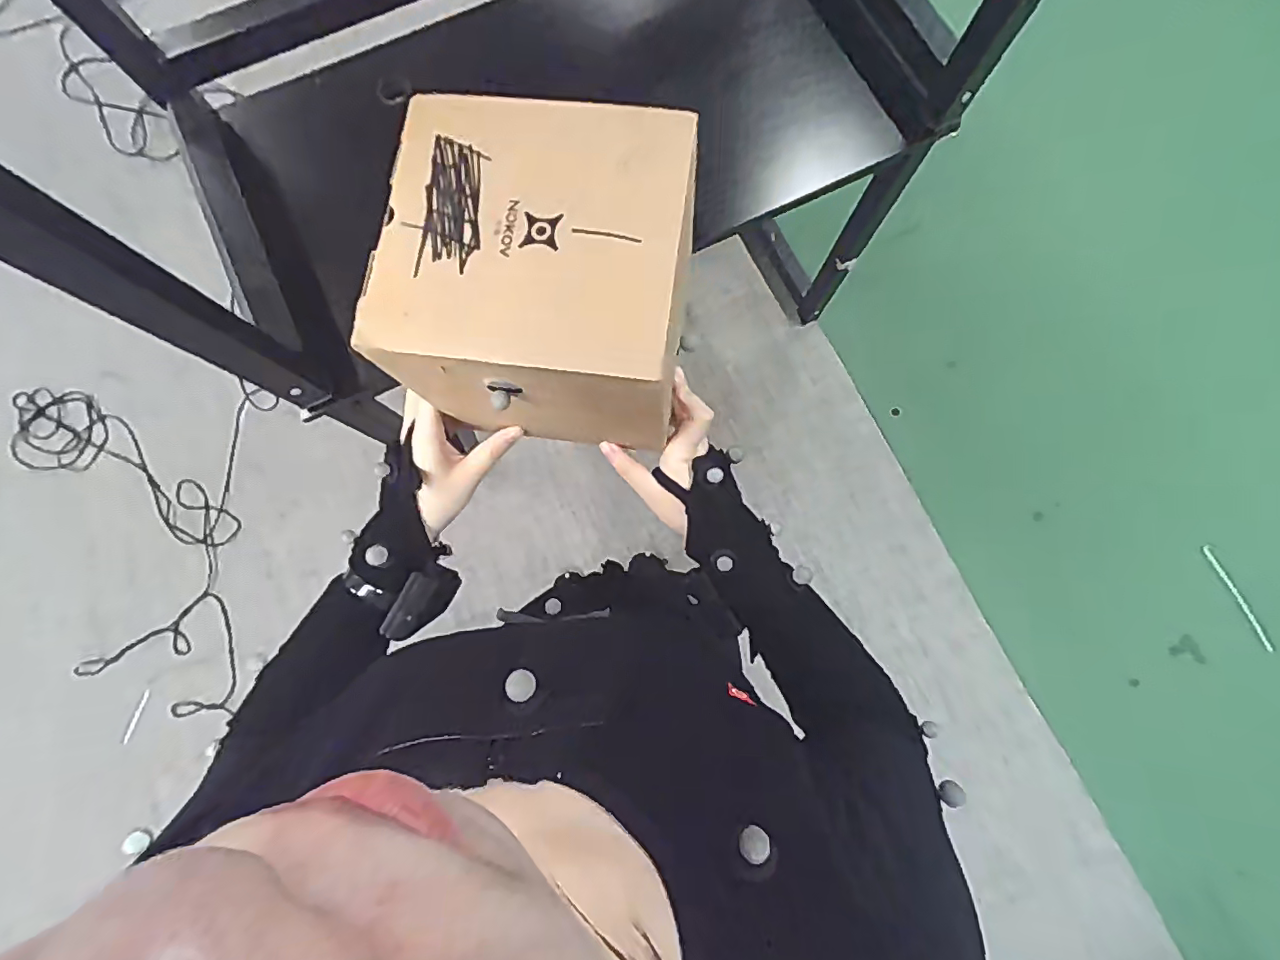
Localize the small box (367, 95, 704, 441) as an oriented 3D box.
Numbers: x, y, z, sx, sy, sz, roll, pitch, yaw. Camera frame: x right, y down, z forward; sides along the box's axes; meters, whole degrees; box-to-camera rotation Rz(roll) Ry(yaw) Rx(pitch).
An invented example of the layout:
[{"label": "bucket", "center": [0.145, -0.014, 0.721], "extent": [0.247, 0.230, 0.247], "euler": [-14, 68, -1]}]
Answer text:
[{"label": "small box", "center": [-0.055, -0.133, 0.392], "extent": [0.179, 0.176, 0.168], "euler": [8, 80, 4]}]
